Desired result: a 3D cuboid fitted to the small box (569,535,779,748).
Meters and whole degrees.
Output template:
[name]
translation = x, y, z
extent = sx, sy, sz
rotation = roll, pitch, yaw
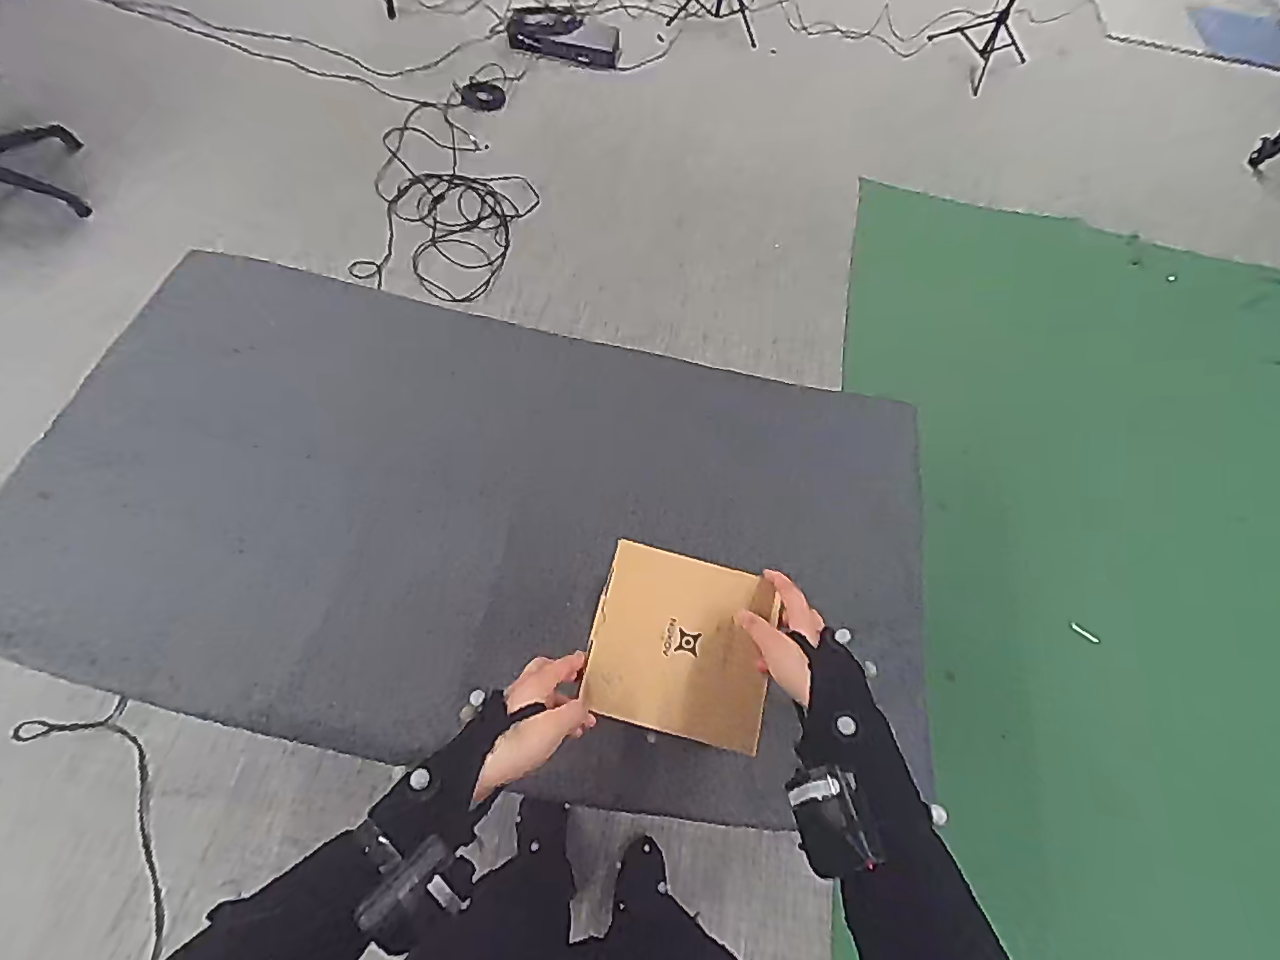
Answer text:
[small box]
translation = 0.030, 0.178, 0.592
extent = 0.179, 0.176, 0.168
rotation = 16, 68, 0
